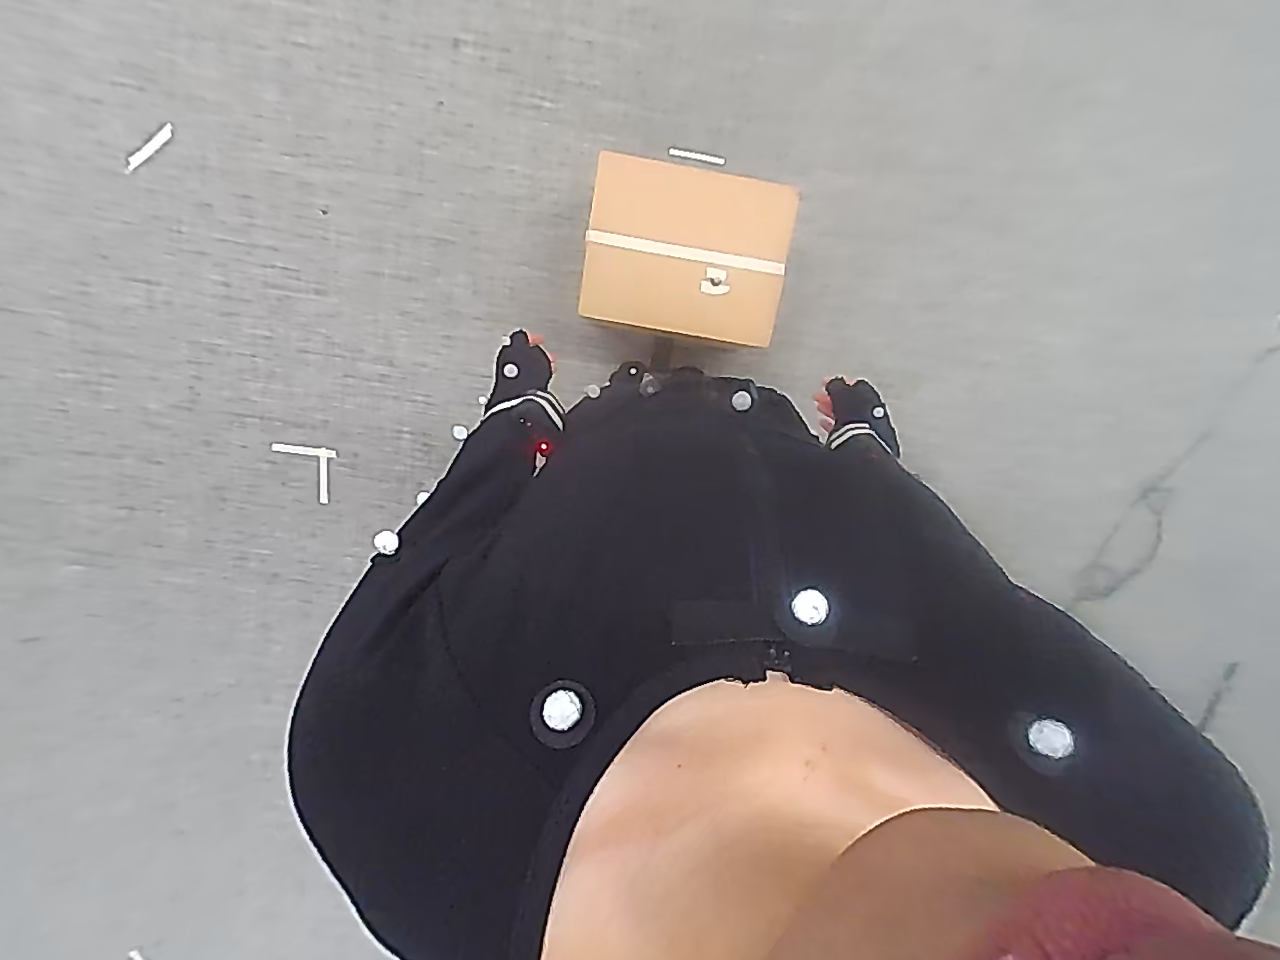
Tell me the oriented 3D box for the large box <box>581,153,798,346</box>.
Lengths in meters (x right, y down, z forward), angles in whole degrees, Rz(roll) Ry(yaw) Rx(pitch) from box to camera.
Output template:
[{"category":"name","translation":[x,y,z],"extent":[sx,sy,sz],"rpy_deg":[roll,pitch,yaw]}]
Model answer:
[{"category":"large box","translation":[0.090,-0.491,1.231],"extent":[0.408,0.320,0.320],"rpy_deg":[9,103,-4]}]
